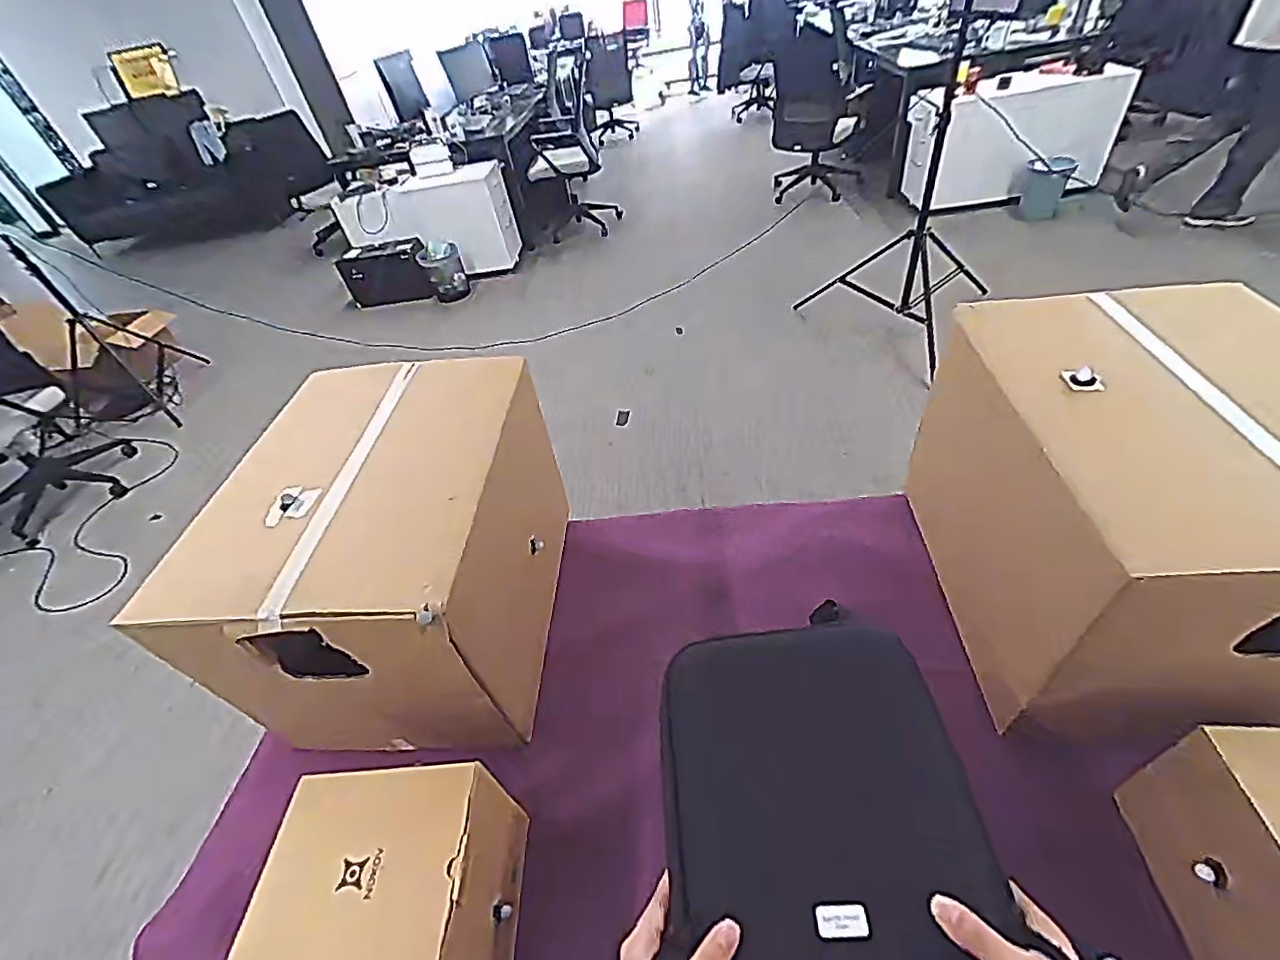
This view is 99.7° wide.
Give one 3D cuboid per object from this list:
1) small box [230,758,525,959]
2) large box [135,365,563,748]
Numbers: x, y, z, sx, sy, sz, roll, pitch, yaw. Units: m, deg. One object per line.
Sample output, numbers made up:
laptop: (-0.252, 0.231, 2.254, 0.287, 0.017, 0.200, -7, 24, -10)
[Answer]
small box: (-0.223, 0.385, 0.506, 0.179, 0.176, 0.168, -7, 42, 3)
large box: (-0.295, 0.095, 0.721, 0.320, 0.320, 0.408, -4, 46, 5)
